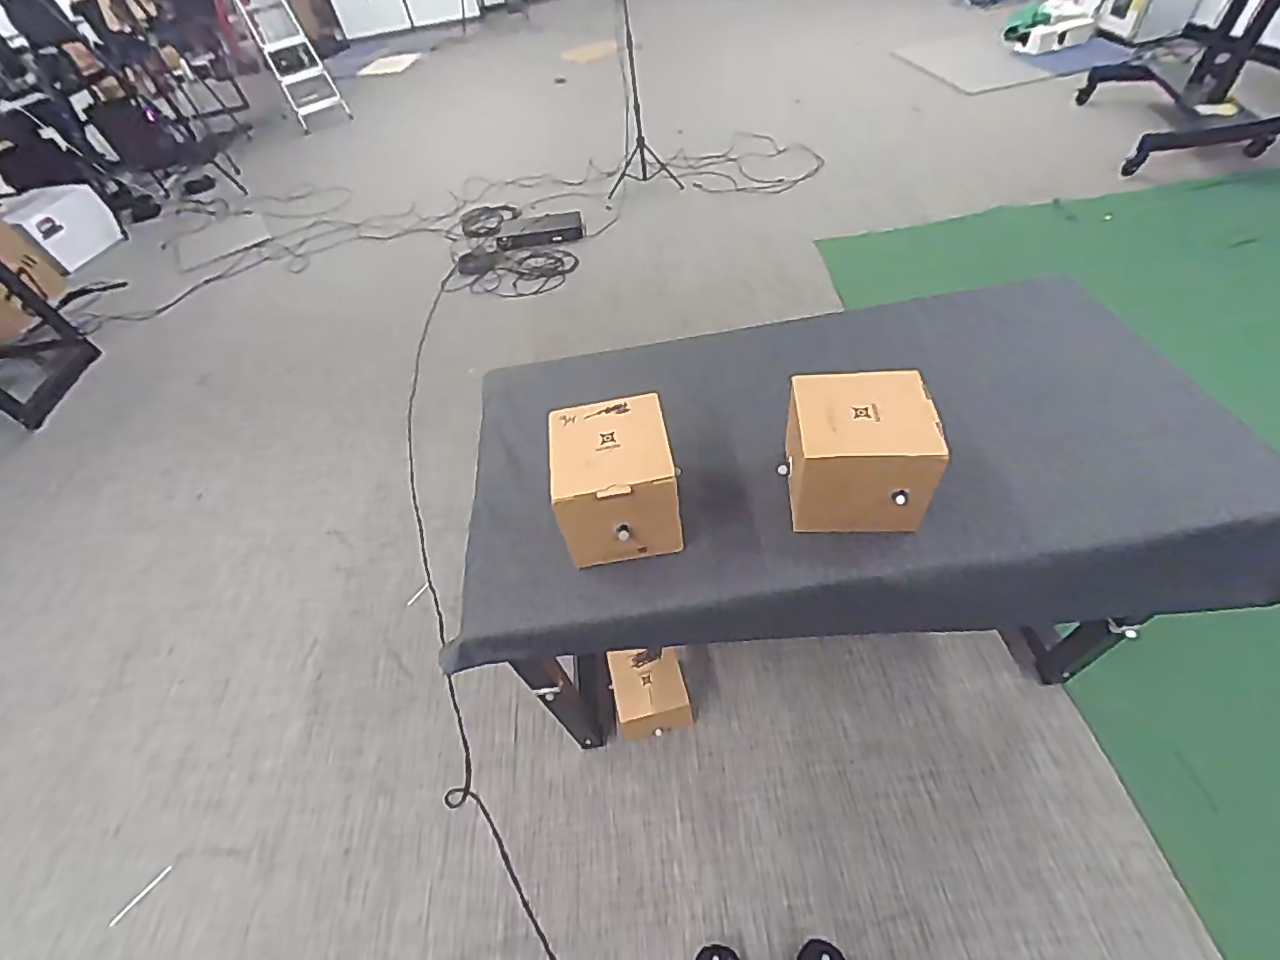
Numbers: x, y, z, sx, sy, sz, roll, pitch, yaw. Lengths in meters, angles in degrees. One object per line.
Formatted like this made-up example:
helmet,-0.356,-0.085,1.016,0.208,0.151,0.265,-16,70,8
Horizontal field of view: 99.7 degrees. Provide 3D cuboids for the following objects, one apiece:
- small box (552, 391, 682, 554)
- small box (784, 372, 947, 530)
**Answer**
small box,-0.033,-0.003,0.811,0.168,0.176,0.179,-9,49,0
small box,0.312,-0.038,0.791,0.179,0.176,0.168,-2,49,9
